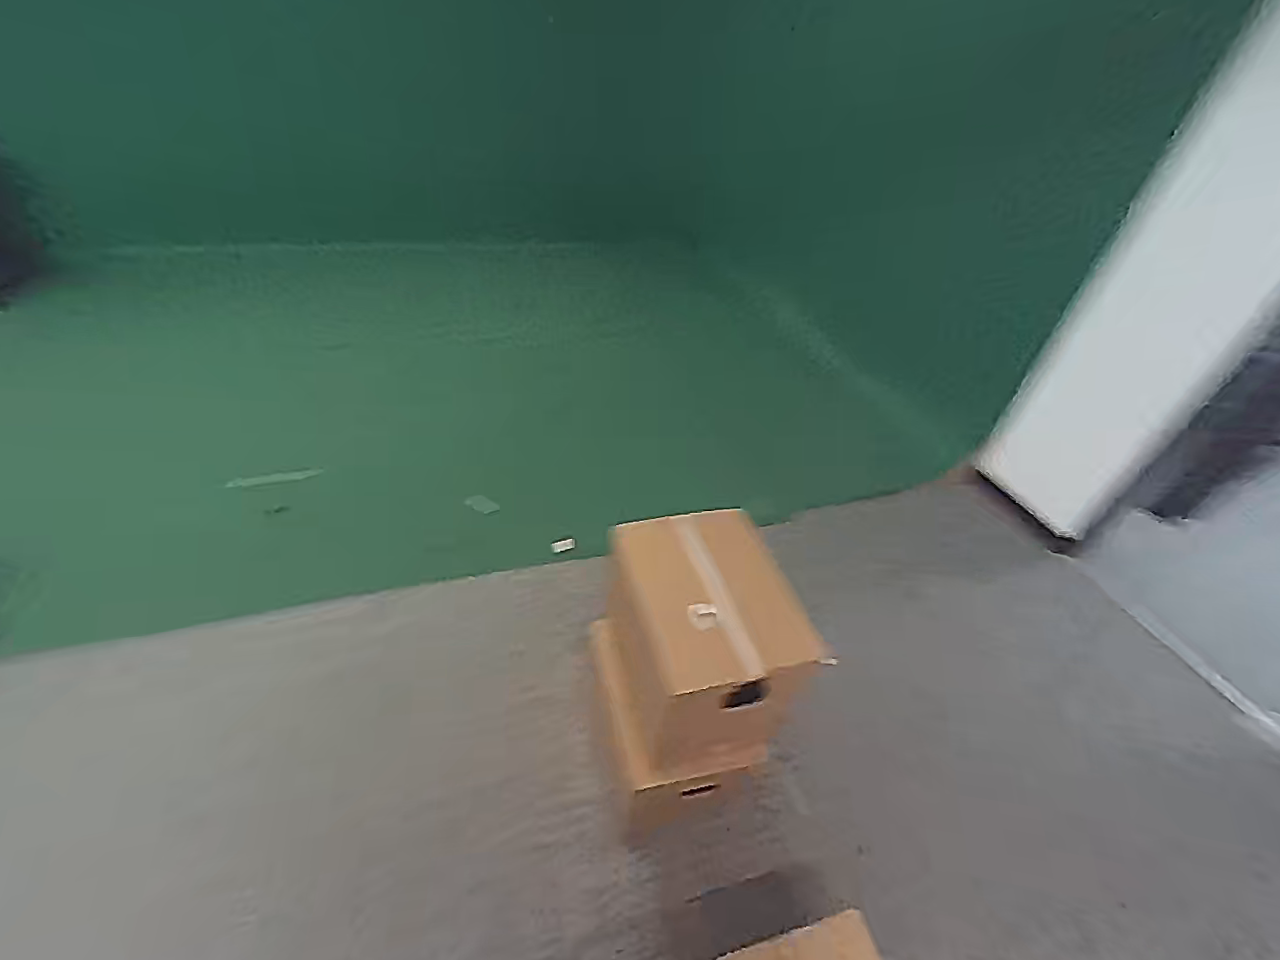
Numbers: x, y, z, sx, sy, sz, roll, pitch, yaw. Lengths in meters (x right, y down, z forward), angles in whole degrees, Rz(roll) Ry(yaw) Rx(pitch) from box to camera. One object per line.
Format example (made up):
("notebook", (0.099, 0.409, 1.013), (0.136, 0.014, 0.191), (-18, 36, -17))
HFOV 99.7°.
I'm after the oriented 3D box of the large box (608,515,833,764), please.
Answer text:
("large box", (0.136, 0.332, 1.187), (0.320, 0.320, 0.408), (-5, 43, -17))
